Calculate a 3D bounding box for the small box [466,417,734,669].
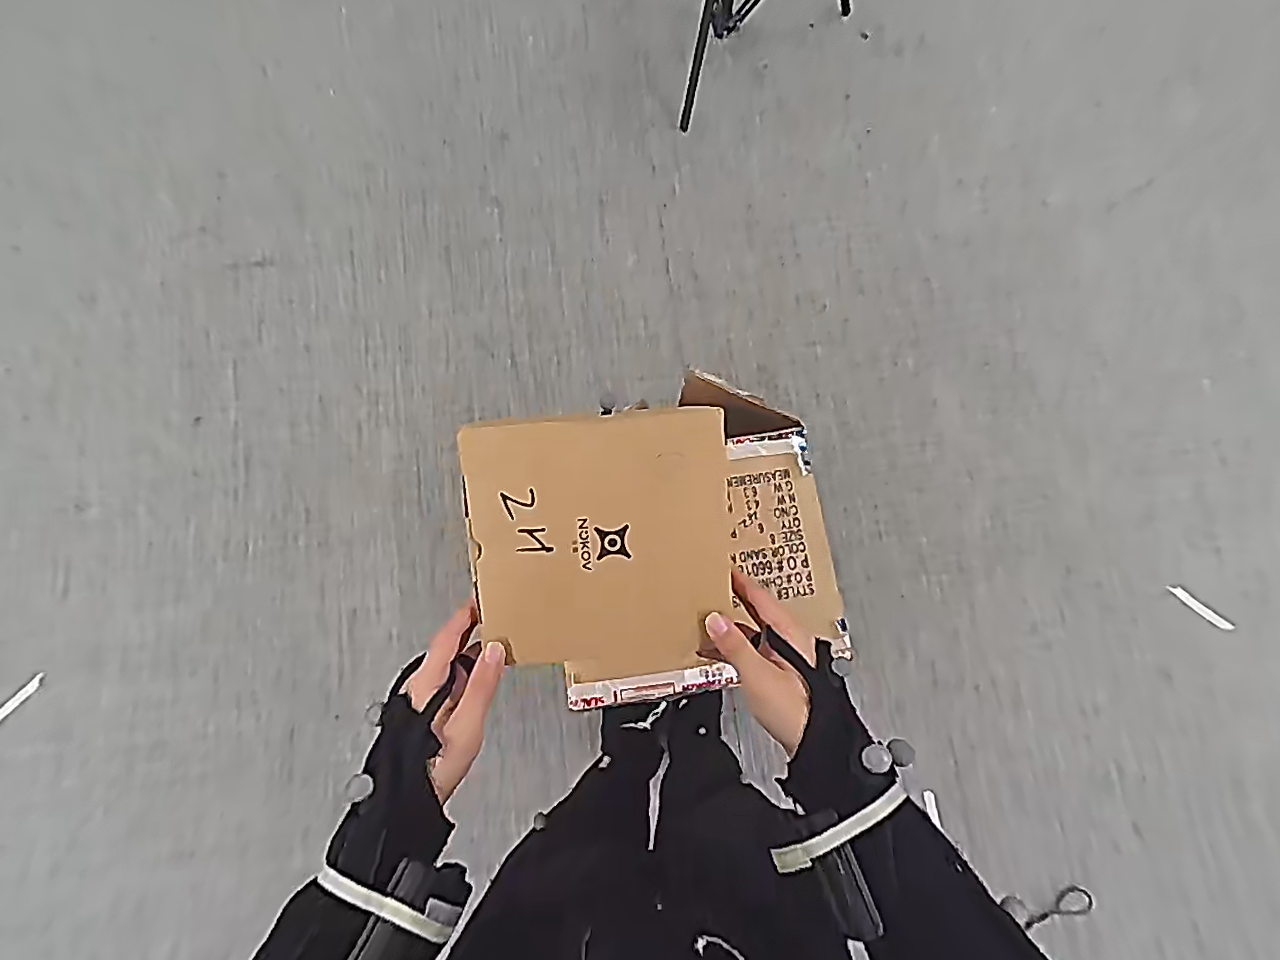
[{"bbox_3d":[-0.028,0.036,0.449,0.179,0.176,0.168,-4,97,-1],"label":"small box"}]
